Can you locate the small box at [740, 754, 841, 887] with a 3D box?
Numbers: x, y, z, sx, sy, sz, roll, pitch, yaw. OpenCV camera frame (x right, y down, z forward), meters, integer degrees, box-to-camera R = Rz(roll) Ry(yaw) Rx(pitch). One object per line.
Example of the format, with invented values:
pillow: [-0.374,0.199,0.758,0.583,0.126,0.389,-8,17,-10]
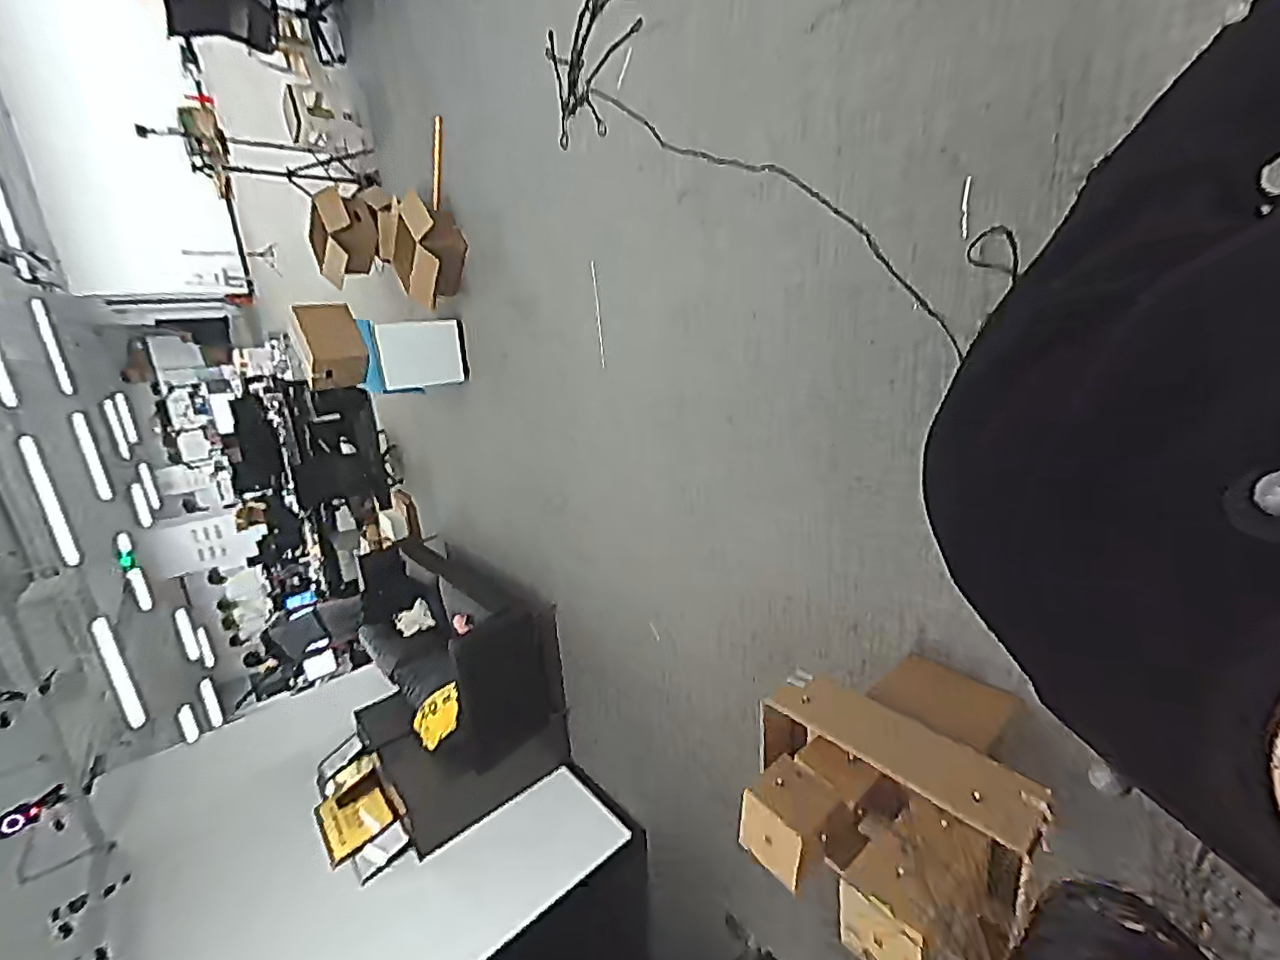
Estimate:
small box: [0.364,0.809,1.306,0.168,0.176,0.179,24,121,46]

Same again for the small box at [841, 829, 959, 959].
small box: [0.535,0.874,1.111,0.168,0.176,0.179,12,112,50]

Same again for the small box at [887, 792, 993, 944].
small box: [0.666,0.852,1.208,0.168,0.176,0.179,11,112,49]
